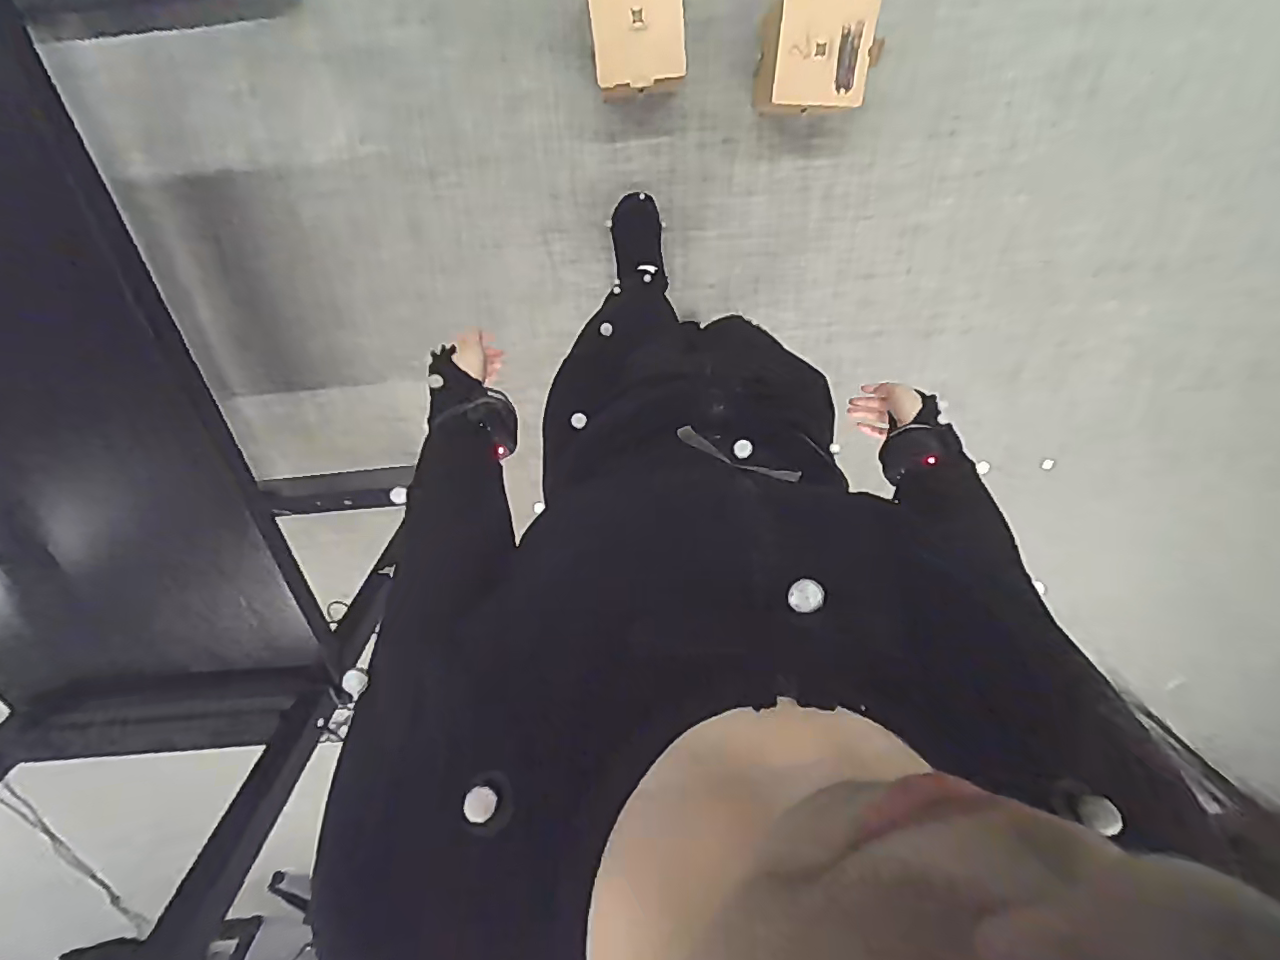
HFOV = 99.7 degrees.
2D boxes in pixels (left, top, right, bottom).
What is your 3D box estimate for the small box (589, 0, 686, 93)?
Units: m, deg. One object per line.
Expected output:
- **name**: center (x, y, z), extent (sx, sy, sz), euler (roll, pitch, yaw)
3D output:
- **small box**: center (-0.003, -0.840, 1.011), extent (0.168, 0.176, 0.179), euler (-6, 120, 2)
